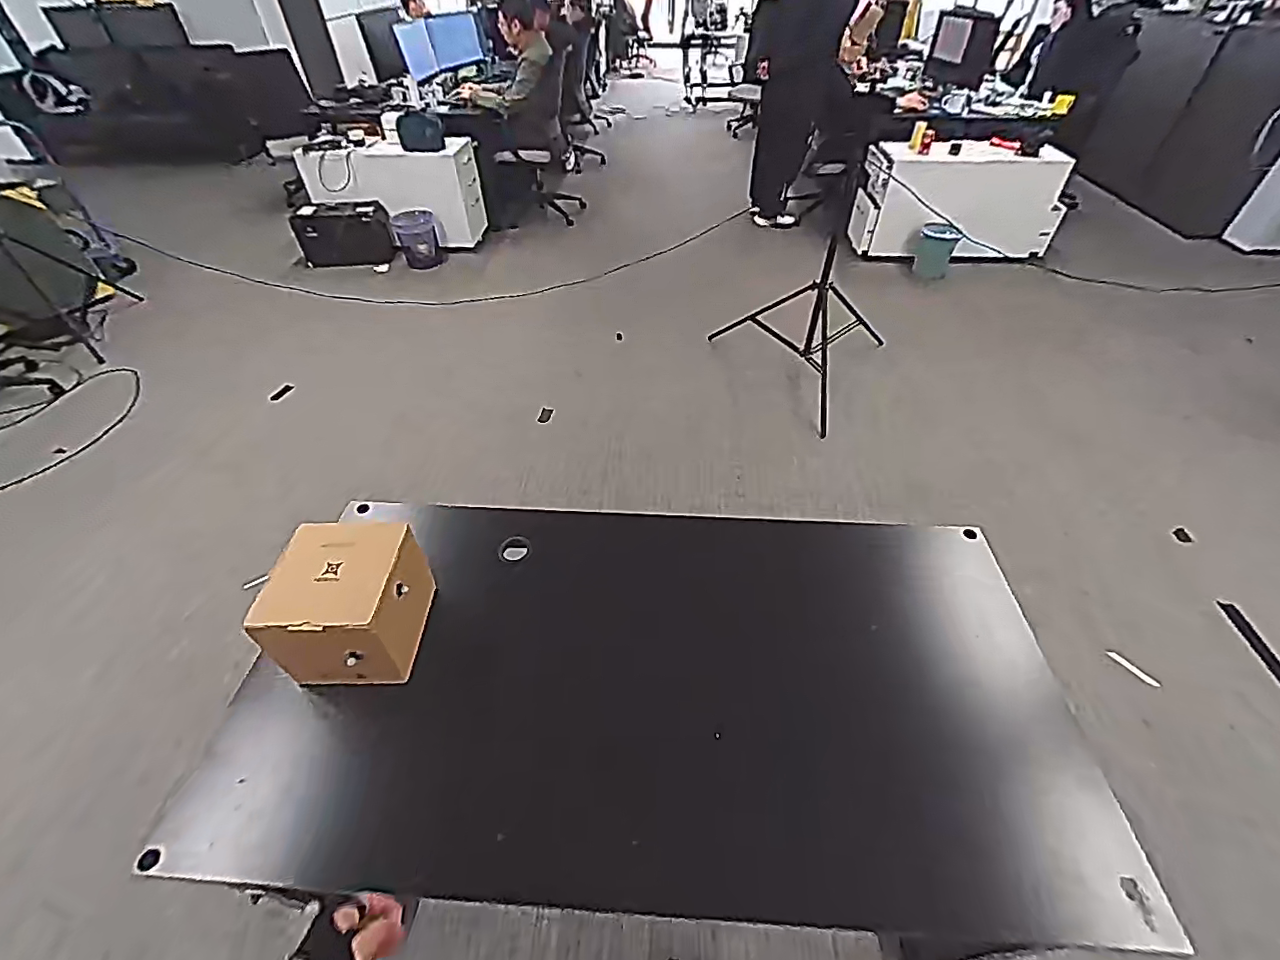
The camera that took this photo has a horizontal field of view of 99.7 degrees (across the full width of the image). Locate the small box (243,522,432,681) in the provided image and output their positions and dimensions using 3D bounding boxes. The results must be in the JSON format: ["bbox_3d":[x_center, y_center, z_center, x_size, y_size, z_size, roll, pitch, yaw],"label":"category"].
[{"bbox_3d":[-0.424,0.182,0.799,0.168,0.176,0.179,0,44,-1],"label":"small box"}]
